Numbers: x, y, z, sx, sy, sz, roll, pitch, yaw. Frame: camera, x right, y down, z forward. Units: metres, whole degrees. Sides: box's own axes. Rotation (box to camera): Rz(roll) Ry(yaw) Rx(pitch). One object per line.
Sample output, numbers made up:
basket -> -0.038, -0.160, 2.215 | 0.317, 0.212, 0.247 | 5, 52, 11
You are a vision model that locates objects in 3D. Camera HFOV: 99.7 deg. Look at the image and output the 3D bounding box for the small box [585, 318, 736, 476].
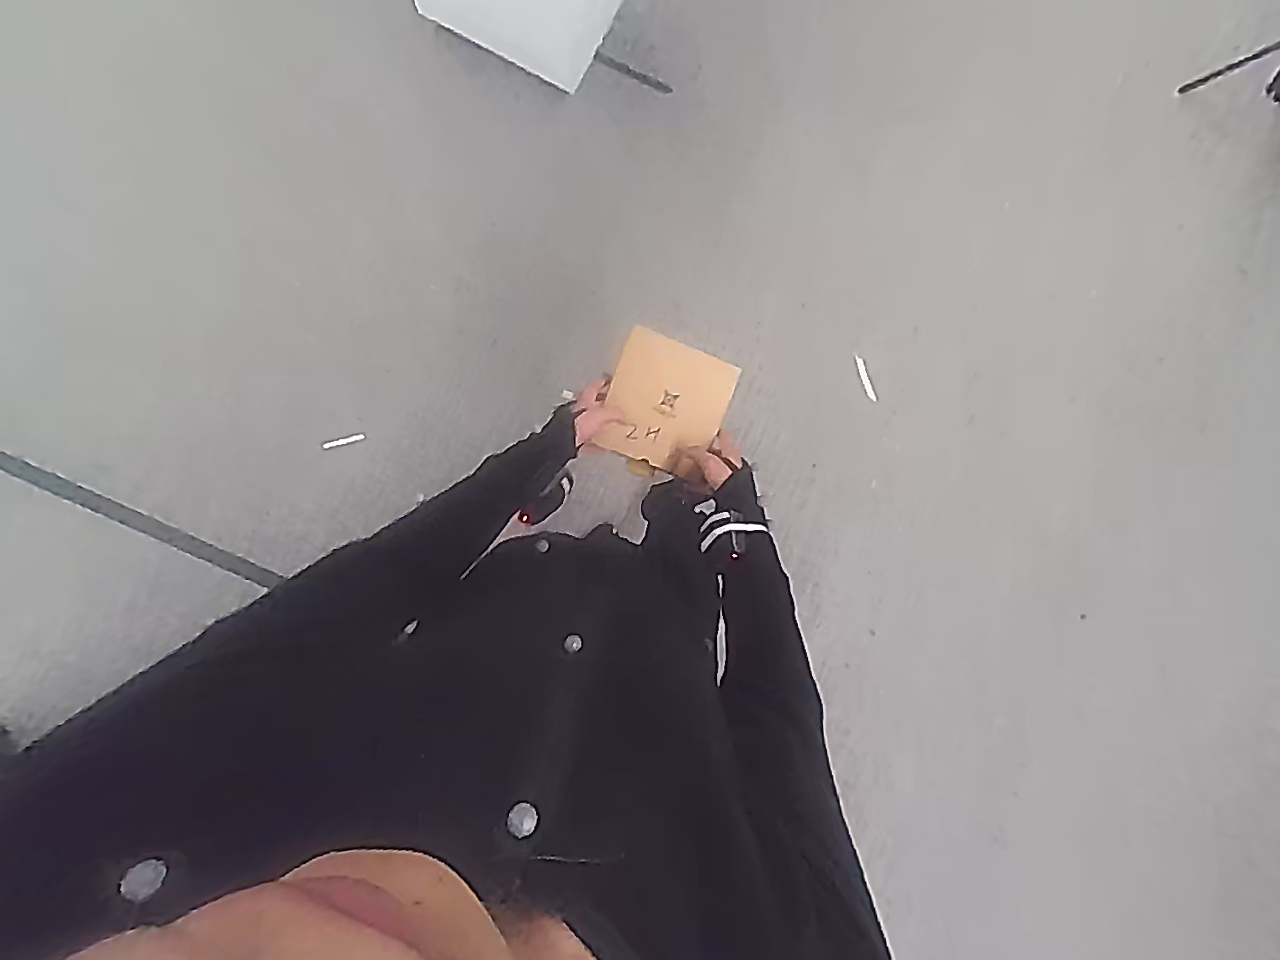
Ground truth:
small box -> 0.019, -0.123, 0.826 | 0.168, 0.176, 0.179 | 20, 94, -10
